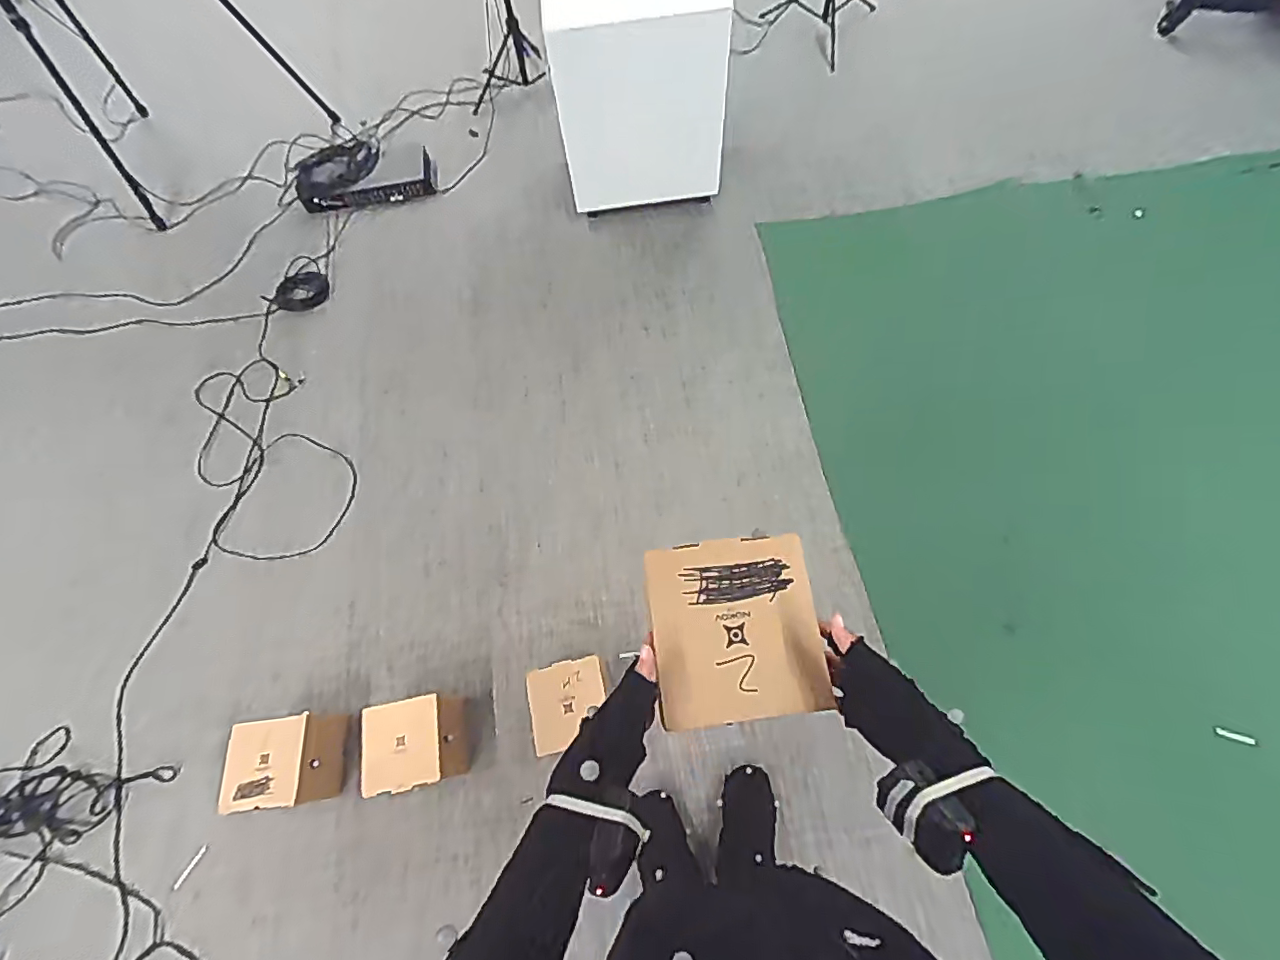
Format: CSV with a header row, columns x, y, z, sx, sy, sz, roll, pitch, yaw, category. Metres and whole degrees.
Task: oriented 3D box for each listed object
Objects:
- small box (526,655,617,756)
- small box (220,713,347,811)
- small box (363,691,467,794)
x,y,z,sx,sy,sz,roll,pitch,yaw,category
-0.152,0.514,1.237,0.168,0.176,0.179,-13,66,-3,small box
-0.791,0.629,1.222,0.168,0.176,0.179,-7,64,0,small box
-0.504,0.589,1.224,0.168,0.176,0.179,-12,67,-2,small box
